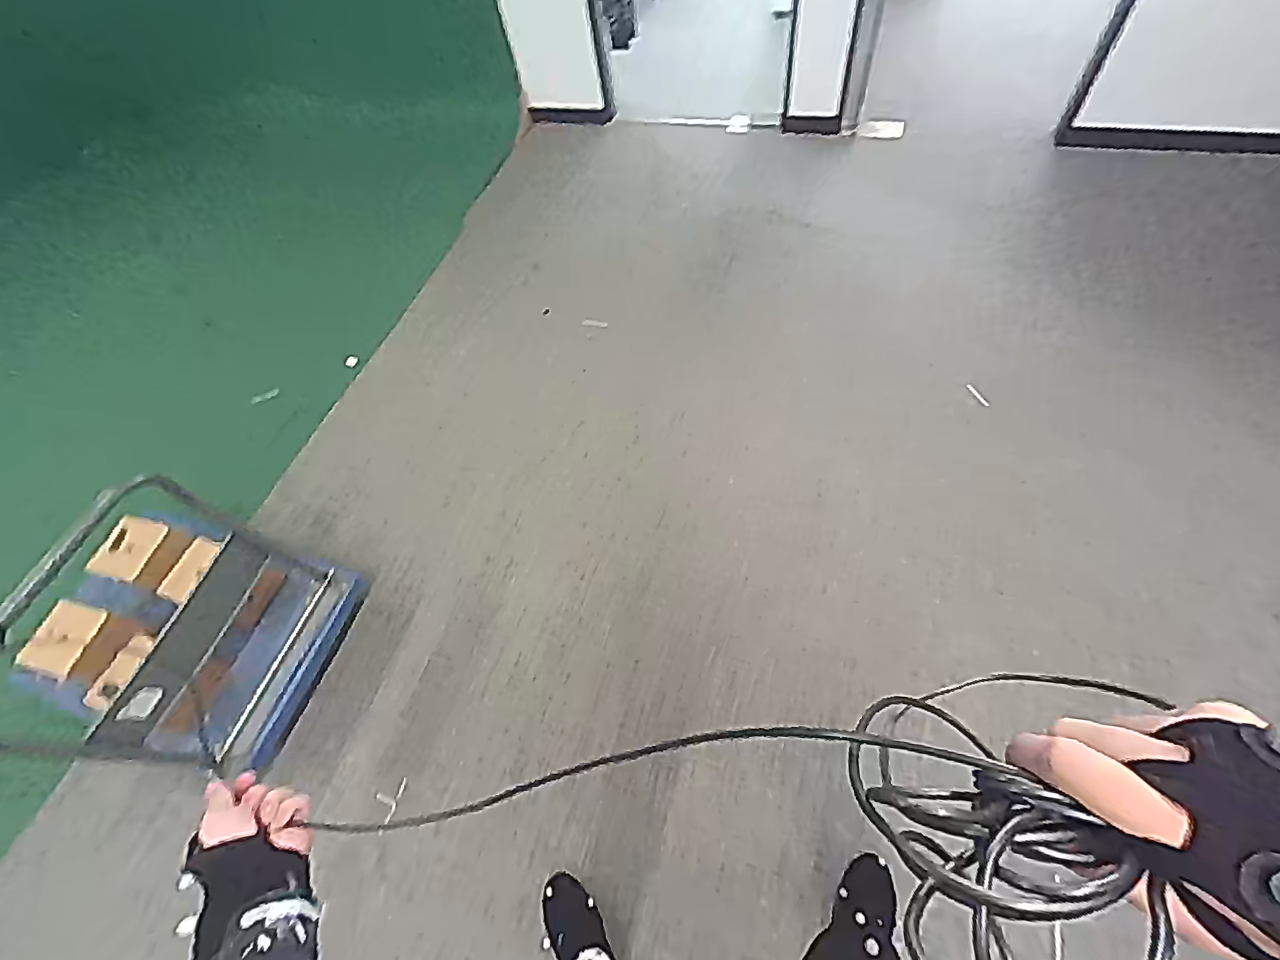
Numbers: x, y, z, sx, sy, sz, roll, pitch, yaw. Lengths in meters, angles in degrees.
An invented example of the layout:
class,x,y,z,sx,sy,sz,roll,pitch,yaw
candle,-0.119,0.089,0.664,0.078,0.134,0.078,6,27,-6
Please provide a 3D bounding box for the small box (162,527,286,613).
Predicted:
class,x,y,z,sx,sy,sz,roll,pitch,yaw
small box,-1.153,0.256,1.513,0.179,0.176,0.168,15,64,14

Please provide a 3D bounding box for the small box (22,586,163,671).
class,x,y,z,sx,sy,sz,roll,pitch,yaw
small box,-1.471,0.409,1.468,0.179,0.176,0.168,10,62,13

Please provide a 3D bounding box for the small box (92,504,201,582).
class,x,y,z,sx,sy,sz,roll,pitch,yaw
small box,-1.406,0.193,1.581,0.179,0.176,0.168,11,63,12
